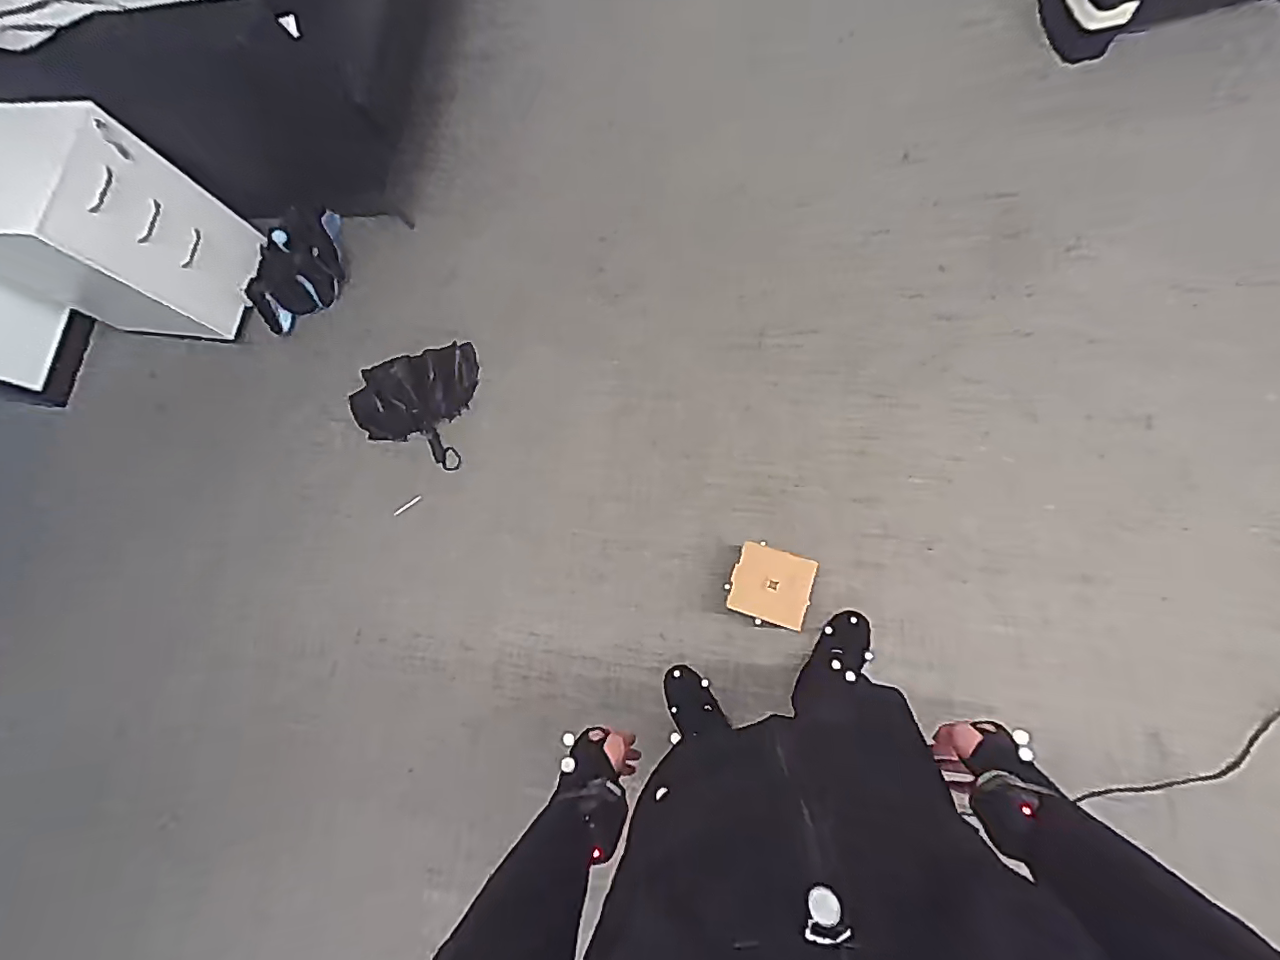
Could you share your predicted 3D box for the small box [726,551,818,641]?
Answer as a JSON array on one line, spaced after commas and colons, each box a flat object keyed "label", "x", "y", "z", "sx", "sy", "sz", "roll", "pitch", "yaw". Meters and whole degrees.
[{"label": "small box", "x": 0.320, "y": 0.286, "z": 1.329, "sx": 0.179, "sy": 0.176, "sz": 0.168, "roll": 16, "pitch": 81, "yaw": 13}]
